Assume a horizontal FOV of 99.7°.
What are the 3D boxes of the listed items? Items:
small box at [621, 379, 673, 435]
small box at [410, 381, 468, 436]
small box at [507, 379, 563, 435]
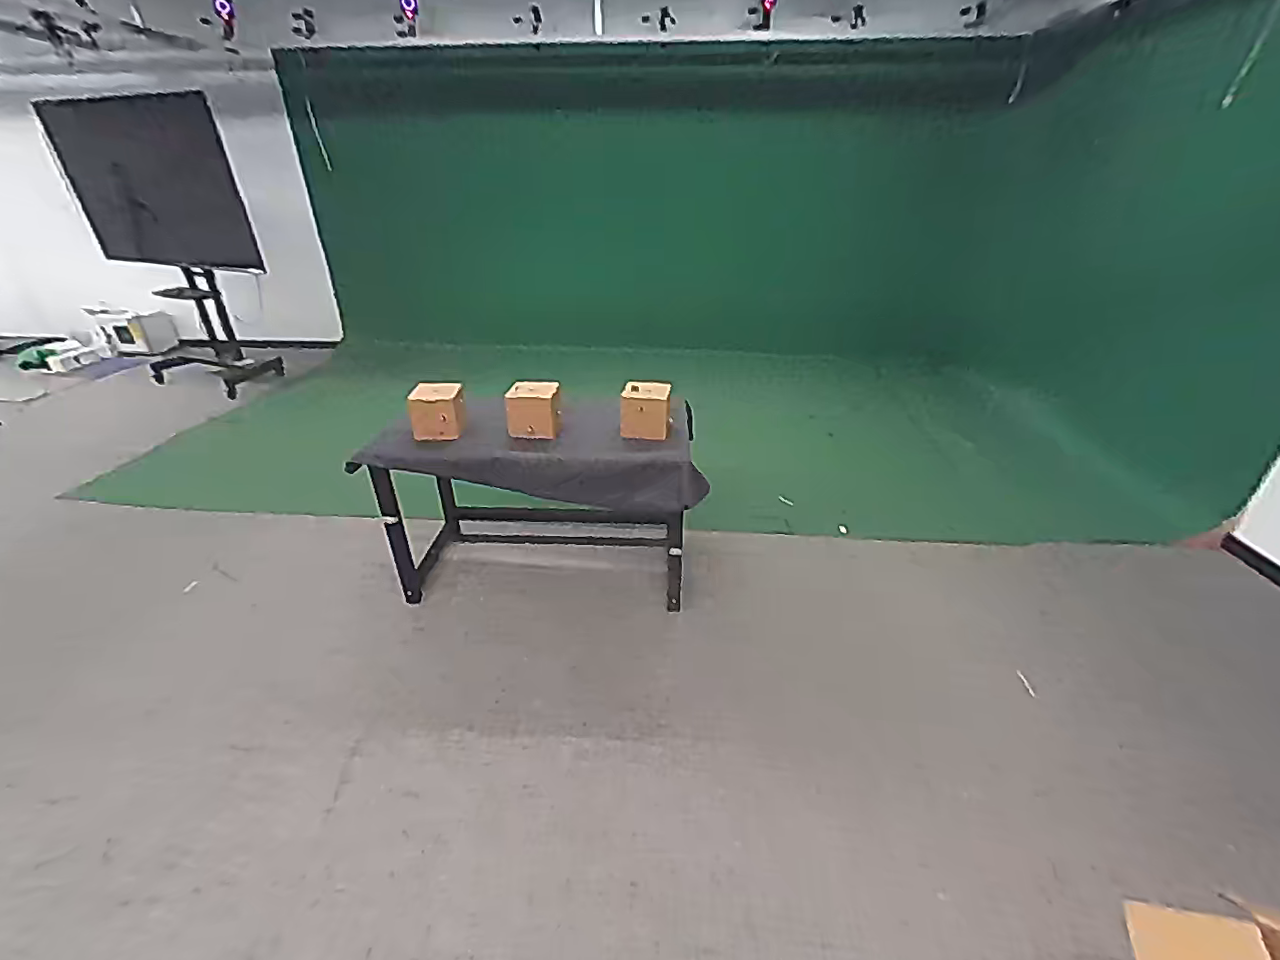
[{"bbox_3d":[0.029,-0.283,2.096,0.179,0.176,0.168,5,30,8],"label":"small box"},{"bbox_3d":[-0.773,-0.277,2.099,0.168,0.176,0.179,-1,28,-5],"label":"small box"},{"bbox_3d":[-0.403,-0.284,2.108,0.179,0.176,0.168,3,30,5],"label":"small box"}]
